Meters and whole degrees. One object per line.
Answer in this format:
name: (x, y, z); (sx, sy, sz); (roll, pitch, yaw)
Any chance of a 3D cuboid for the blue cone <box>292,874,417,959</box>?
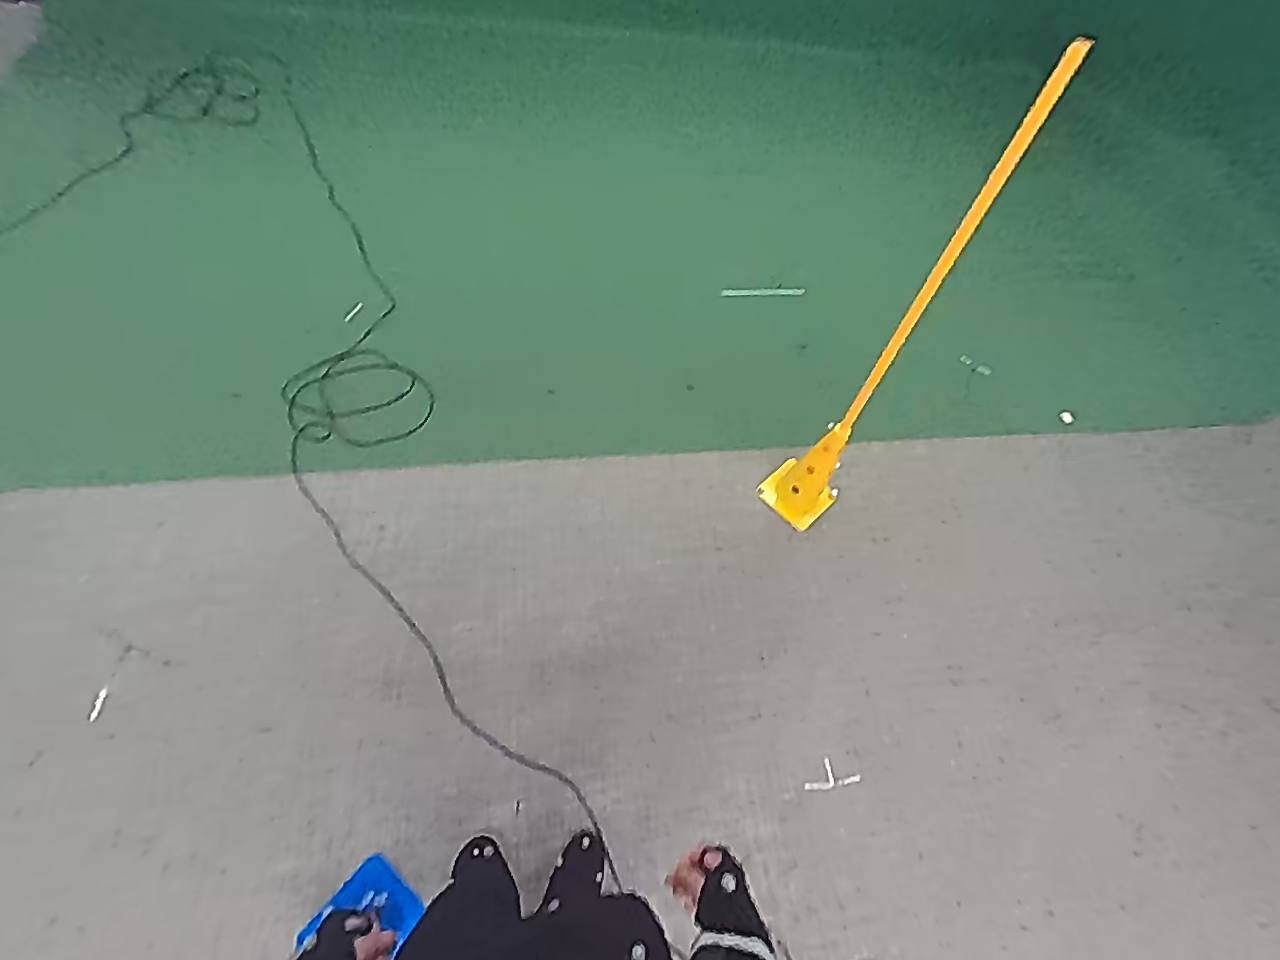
blue cone: (-0.544, 0.845, 0.920); (0.192, 0.380, 0.193); (36, 63, 14)
